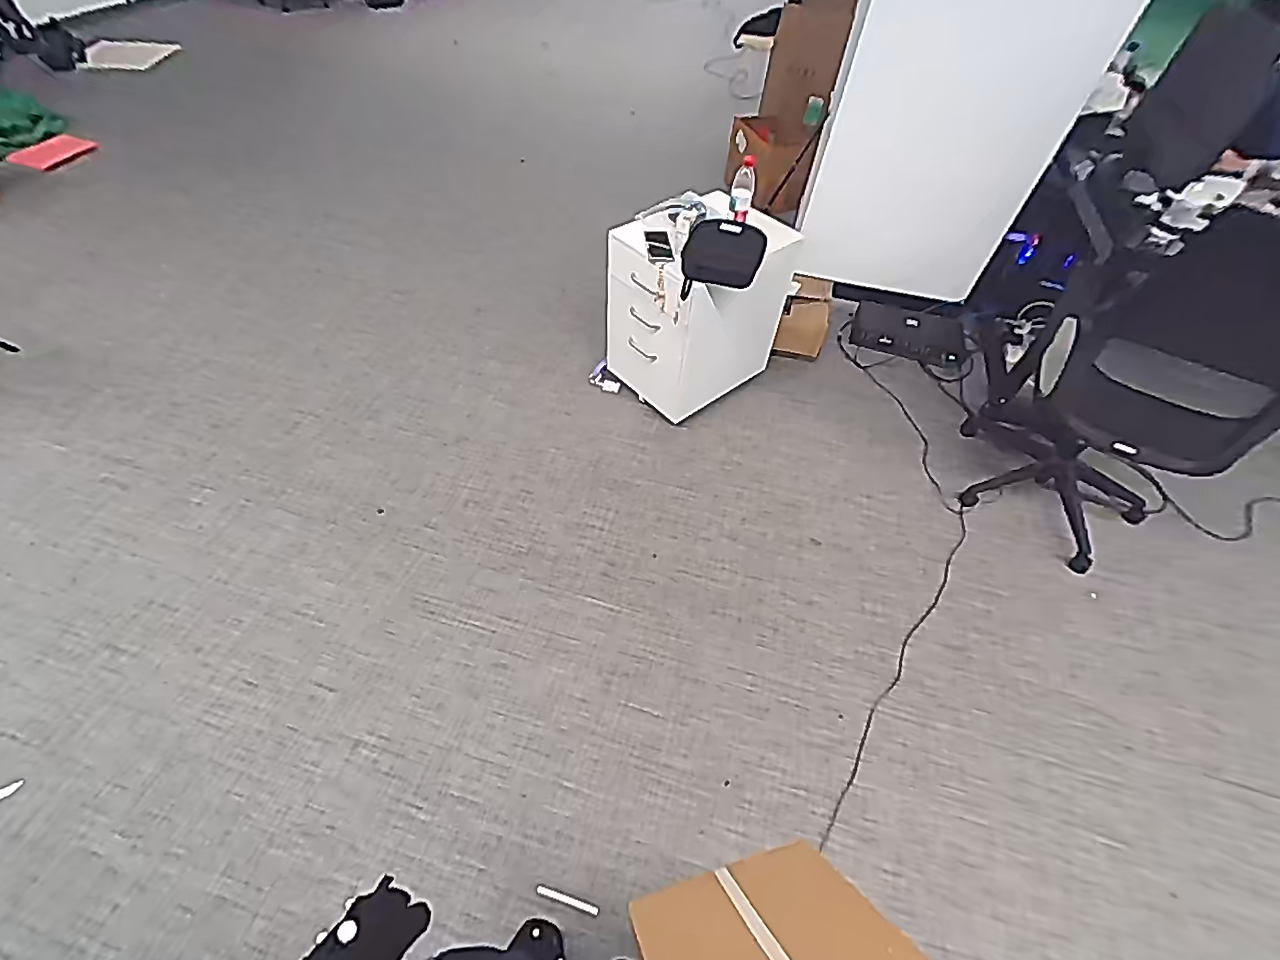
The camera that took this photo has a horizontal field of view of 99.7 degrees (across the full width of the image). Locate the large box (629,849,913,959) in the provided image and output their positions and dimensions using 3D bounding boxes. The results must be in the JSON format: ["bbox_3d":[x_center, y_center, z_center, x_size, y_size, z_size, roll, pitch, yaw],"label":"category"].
[{"bbox_3d":[0.198,0.761,0.669,0.320,0.408,0.320,-10,84,-14],"label":"large box"}]
